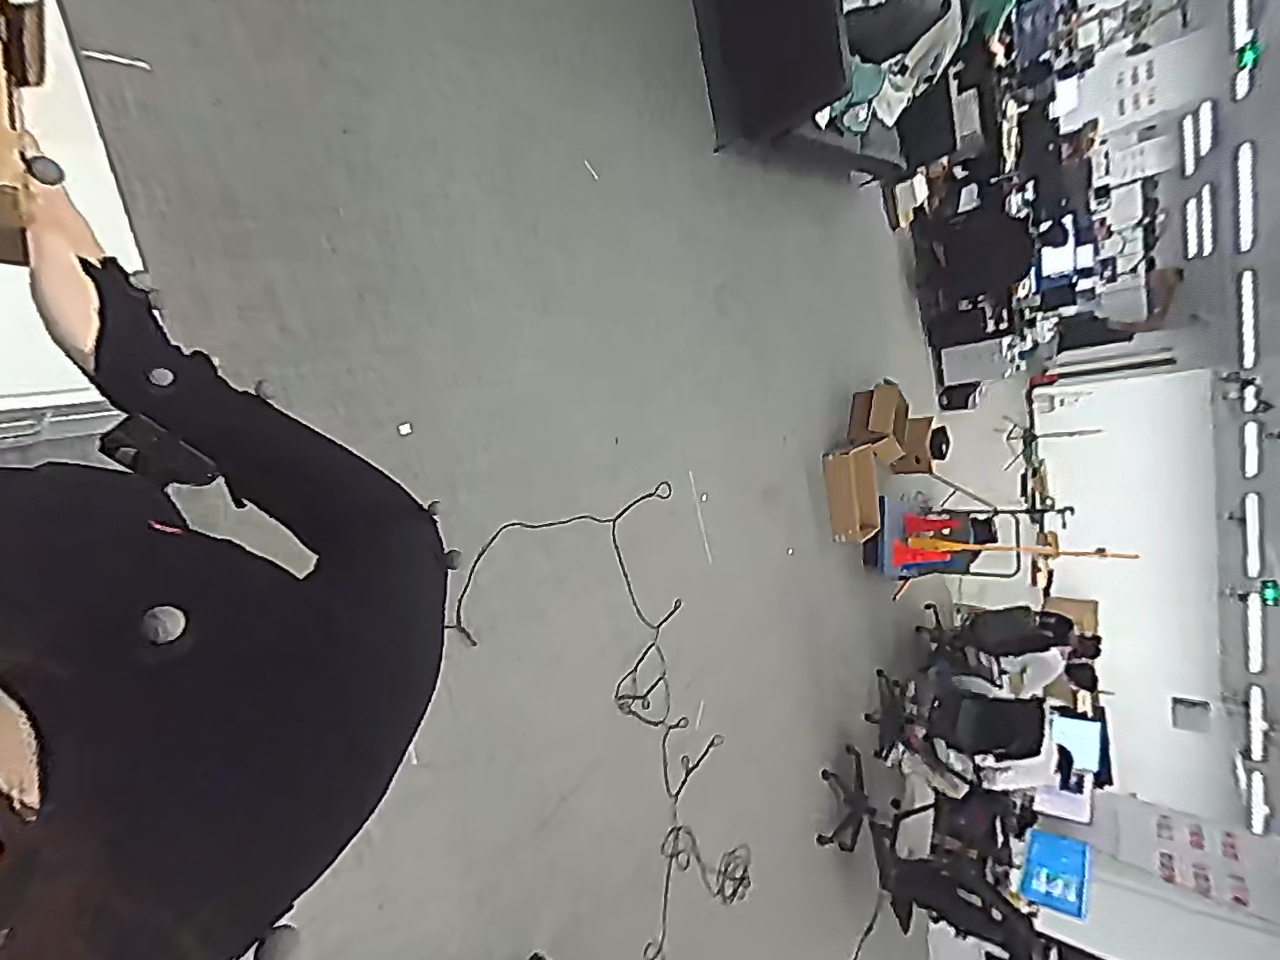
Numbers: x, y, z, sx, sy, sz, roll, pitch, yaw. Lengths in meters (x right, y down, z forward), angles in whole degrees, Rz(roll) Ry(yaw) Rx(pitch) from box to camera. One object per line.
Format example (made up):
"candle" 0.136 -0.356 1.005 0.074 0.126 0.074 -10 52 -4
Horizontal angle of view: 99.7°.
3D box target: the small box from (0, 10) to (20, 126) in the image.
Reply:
"small box" -0.745 -0.482 0.519 0.179 0.176 0.168 -11 96 -47
